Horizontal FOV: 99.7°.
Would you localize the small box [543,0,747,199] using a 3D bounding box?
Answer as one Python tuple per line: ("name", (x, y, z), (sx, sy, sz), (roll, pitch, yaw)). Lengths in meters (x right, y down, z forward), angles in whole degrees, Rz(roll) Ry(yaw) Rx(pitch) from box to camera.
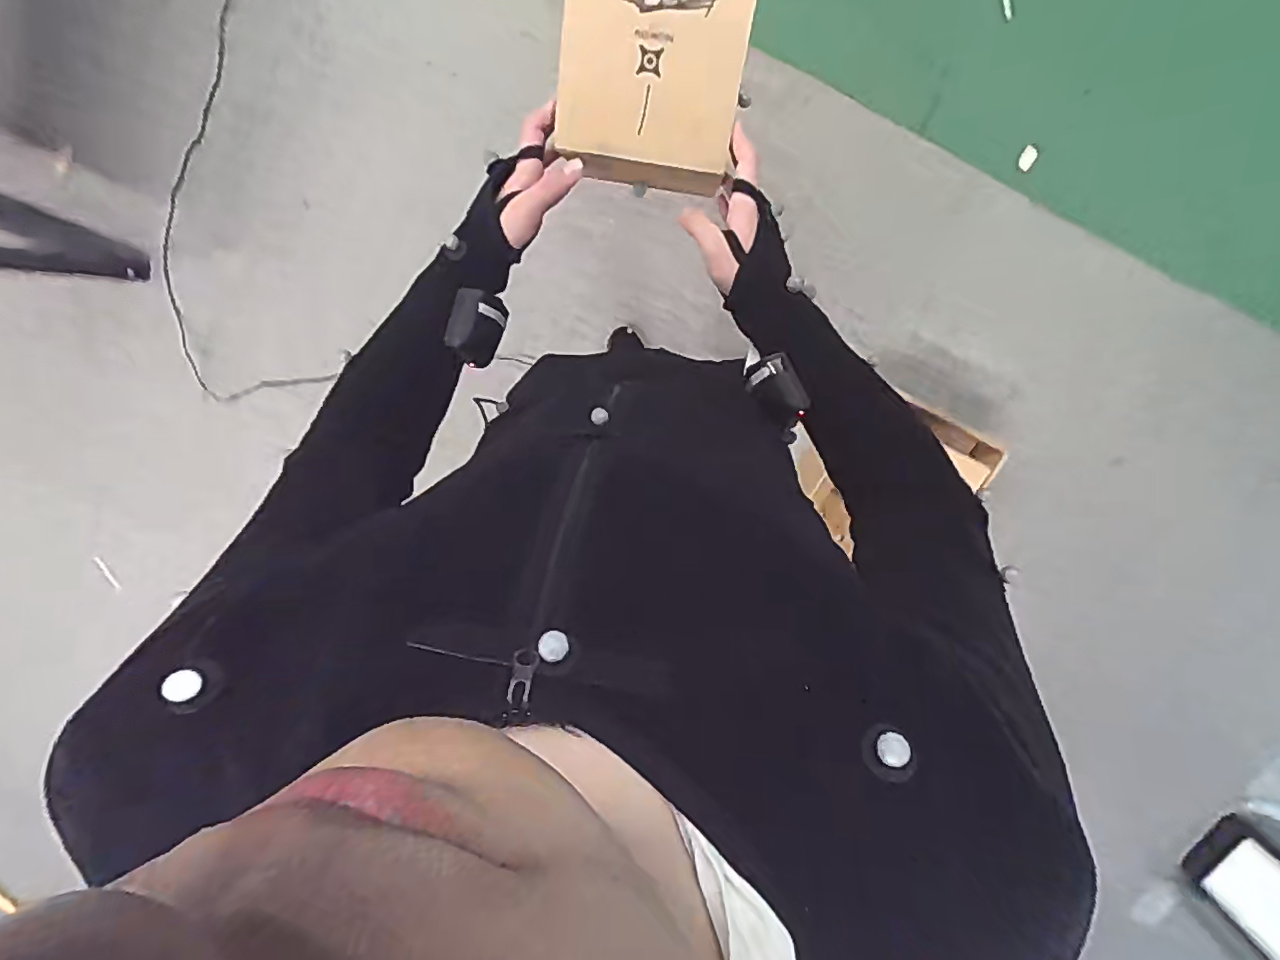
("small box", (0.007, -0.404, 0.551), (0.168, 0.176, 0.179), (9, 112, 1))
